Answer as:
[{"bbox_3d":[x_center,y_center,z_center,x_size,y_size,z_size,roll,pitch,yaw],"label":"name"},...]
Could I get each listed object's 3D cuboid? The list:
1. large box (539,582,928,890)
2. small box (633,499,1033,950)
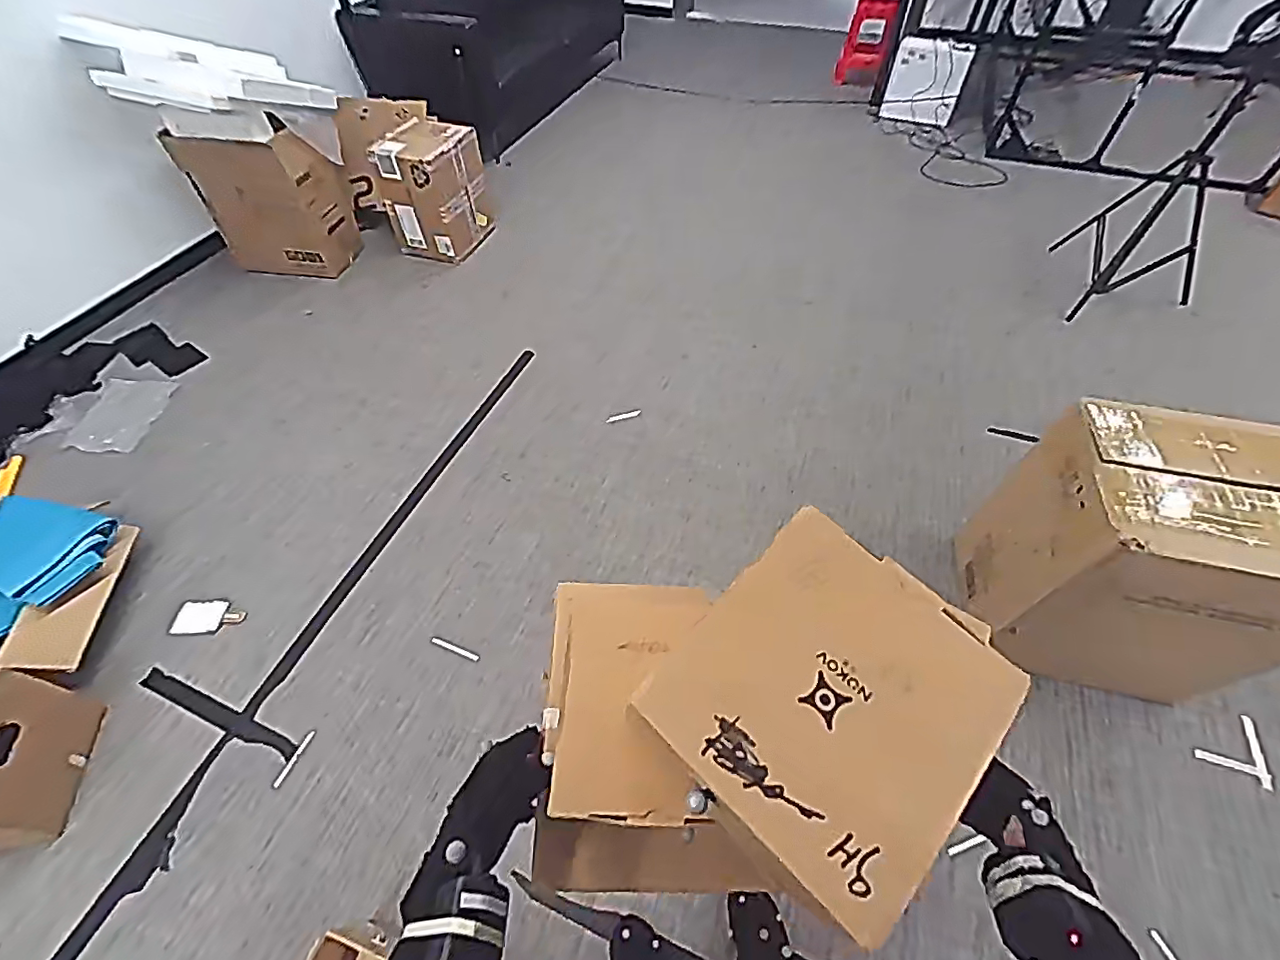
[{"bbox_3d":[0.085,0.339,0.736,0.408,0.320,0.320,2,61,-3],"label":"large box"},{"bbox_3d":[0.107,0.152,0.374,0.168,0.176,0.179,41,68,18],"label":"small box"}]
